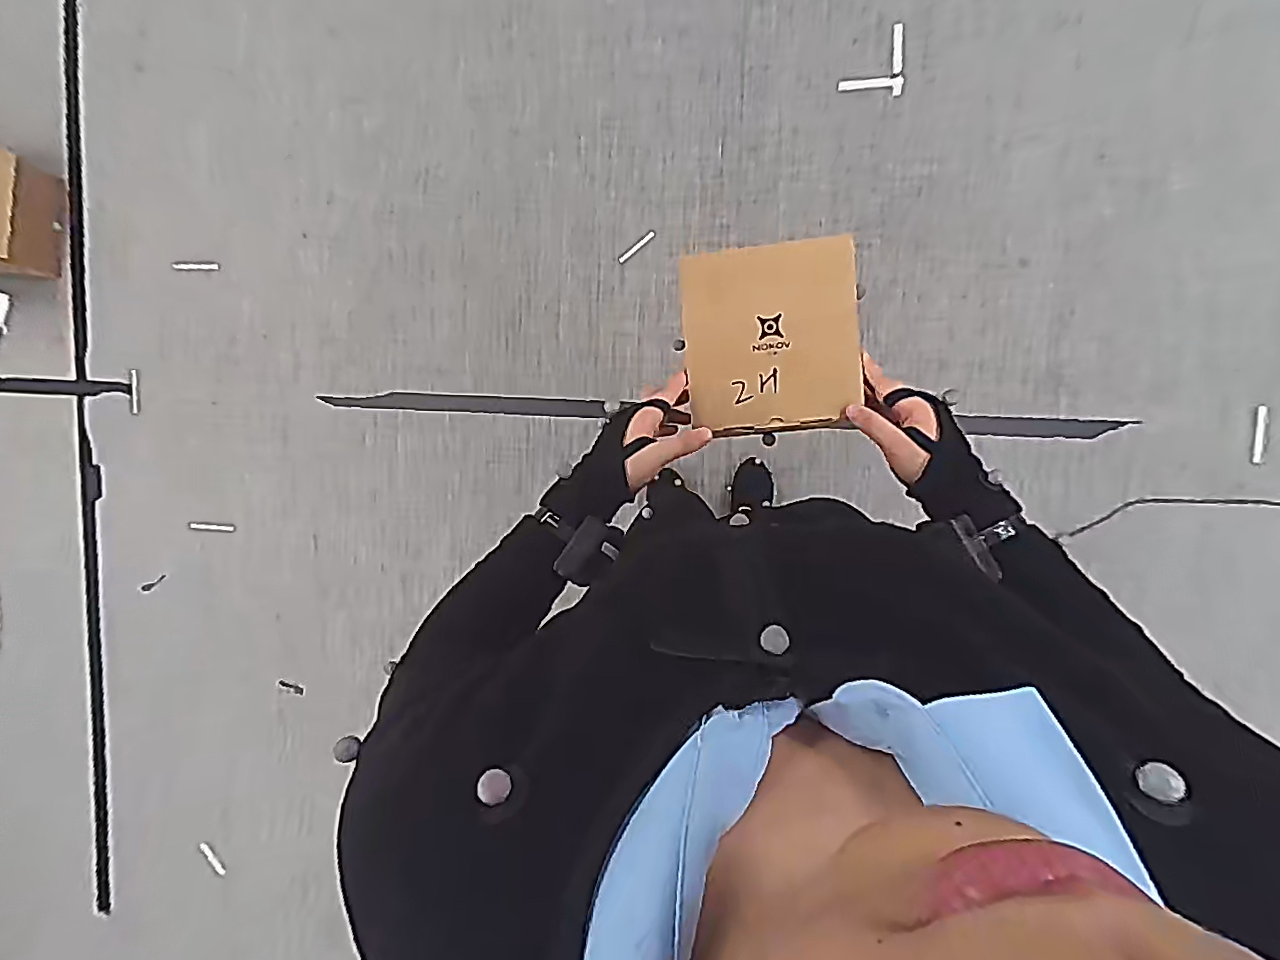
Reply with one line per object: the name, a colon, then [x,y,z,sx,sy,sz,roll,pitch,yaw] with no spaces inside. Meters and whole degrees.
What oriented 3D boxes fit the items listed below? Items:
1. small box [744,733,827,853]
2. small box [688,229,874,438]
small box: [0.327,0.709,1.238,0.168,0.176,0.179,-3,92,7]
small box: [0.143,-0.143,0.590,0.168,0.176,0.179,-5,92,10]
